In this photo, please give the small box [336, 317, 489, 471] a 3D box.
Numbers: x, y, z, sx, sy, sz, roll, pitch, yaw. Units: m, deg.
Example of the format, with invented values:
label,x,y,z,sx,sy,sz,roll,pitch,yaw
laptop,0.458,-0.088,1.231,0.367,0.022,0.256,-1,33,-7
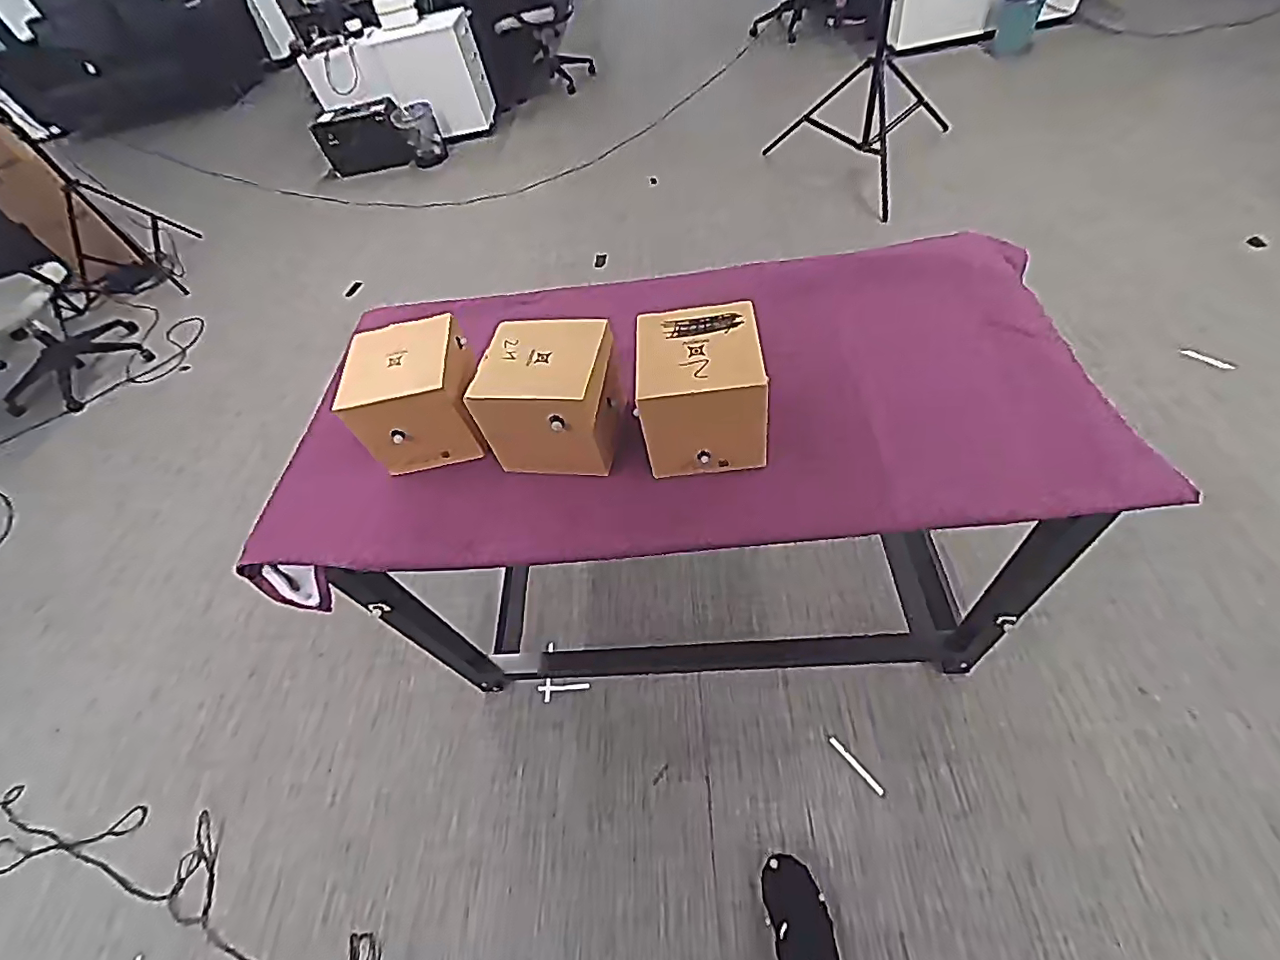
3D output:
label,x,y,z,sx,sy,sz,roll,pitch,yaw
small box,-0.357,-0.131,0.886,0.168,0.176,0.179,-12,53,3
